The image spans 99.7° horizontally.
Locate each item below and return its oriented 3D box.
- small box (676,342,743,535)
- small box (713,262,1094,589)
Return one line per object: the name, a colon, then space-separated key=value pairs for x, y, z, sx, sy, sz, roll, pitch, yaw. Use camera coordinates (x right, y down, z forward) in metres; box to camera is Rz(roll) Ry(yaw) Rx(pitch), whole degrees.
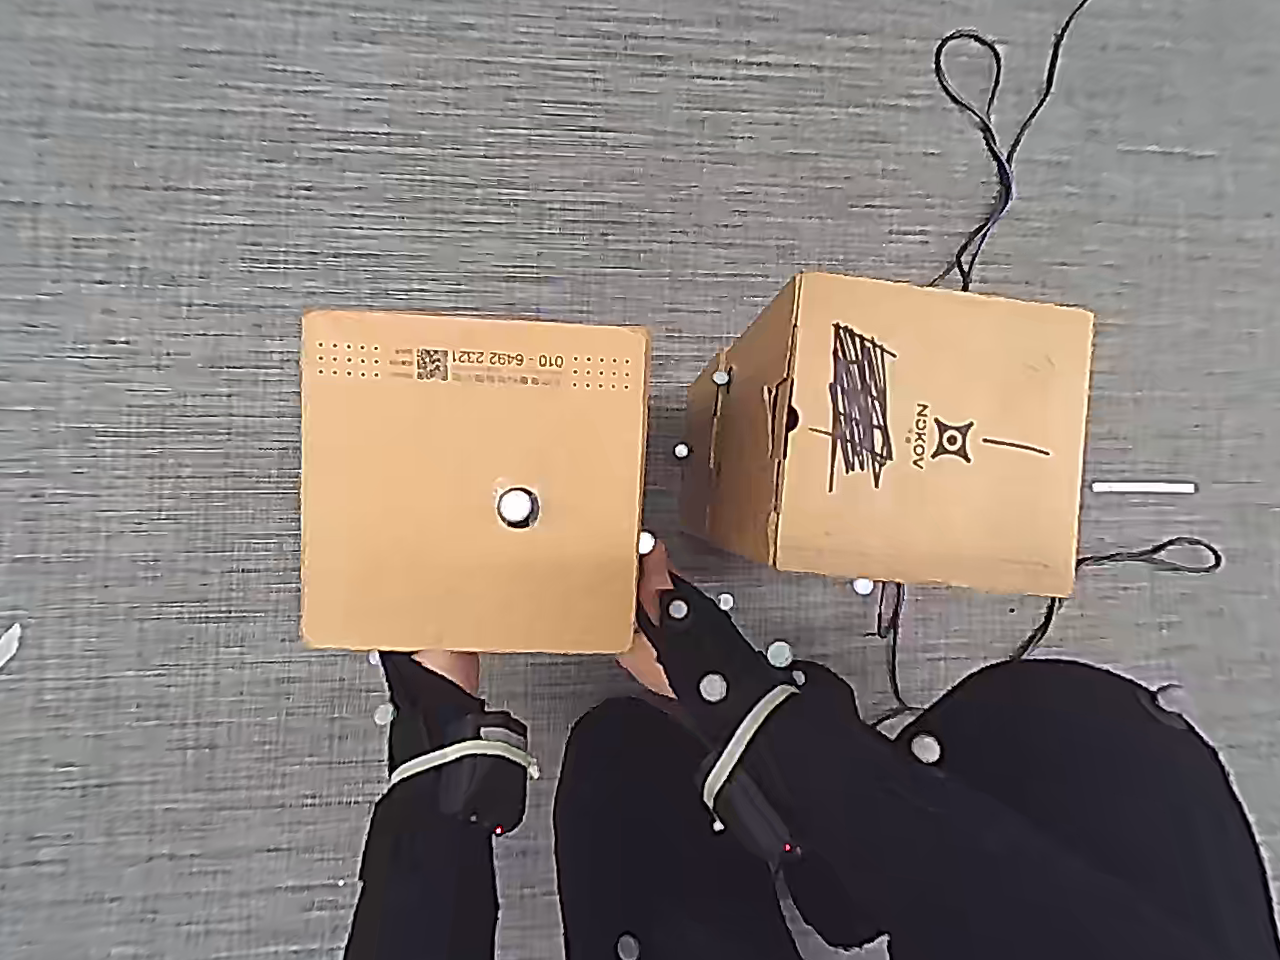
small box: x=0.141 y=-0.024 z=0.539 sx=0.179 sy=0.176 sz=0.168 roll=6 pitch=87 yaw=-4
small box: x=0.156 y=-0.026 z=0.375 sx=0.179 sy=0.176 sz=0.168 roll=6 pitch=88 yaw=-5
